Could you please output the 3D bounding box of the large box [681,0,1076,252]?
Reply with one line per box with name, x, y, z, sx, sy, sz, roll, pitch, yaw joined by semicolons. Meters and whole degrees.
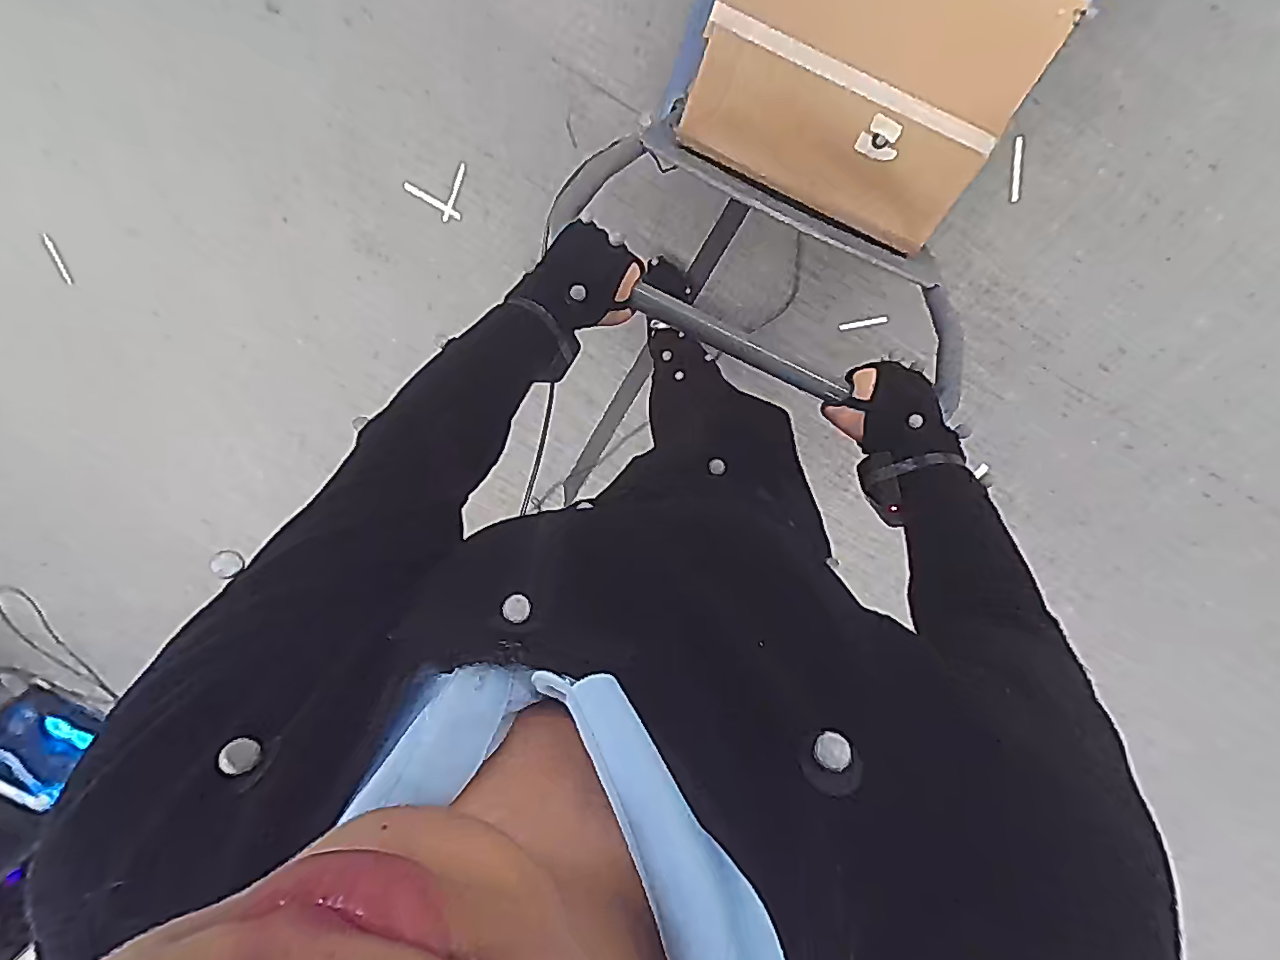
large box;0.322;-0.620;0.845;0.408;0.320;0.320;24;130;-2
